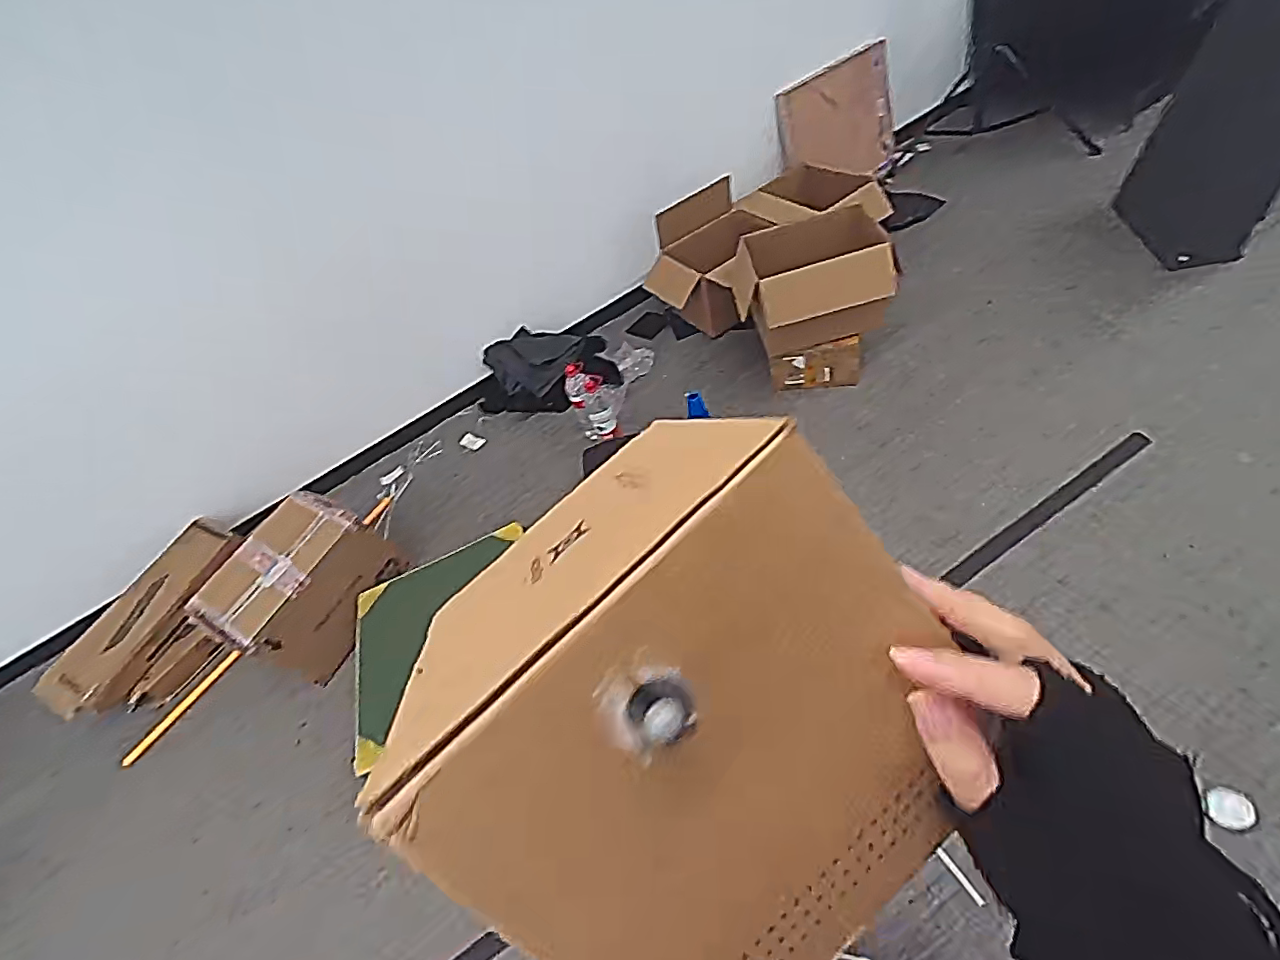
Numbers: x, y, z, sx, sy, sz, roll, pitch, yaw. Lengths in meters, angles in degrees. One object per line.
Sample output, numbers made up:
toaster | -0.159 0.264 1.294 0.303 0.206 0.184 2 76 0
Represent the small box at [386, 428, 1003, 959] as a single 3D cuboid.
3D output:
small box | 0.022 0.094 0.261 0.179 0.176 0.168 -41 13 -7
